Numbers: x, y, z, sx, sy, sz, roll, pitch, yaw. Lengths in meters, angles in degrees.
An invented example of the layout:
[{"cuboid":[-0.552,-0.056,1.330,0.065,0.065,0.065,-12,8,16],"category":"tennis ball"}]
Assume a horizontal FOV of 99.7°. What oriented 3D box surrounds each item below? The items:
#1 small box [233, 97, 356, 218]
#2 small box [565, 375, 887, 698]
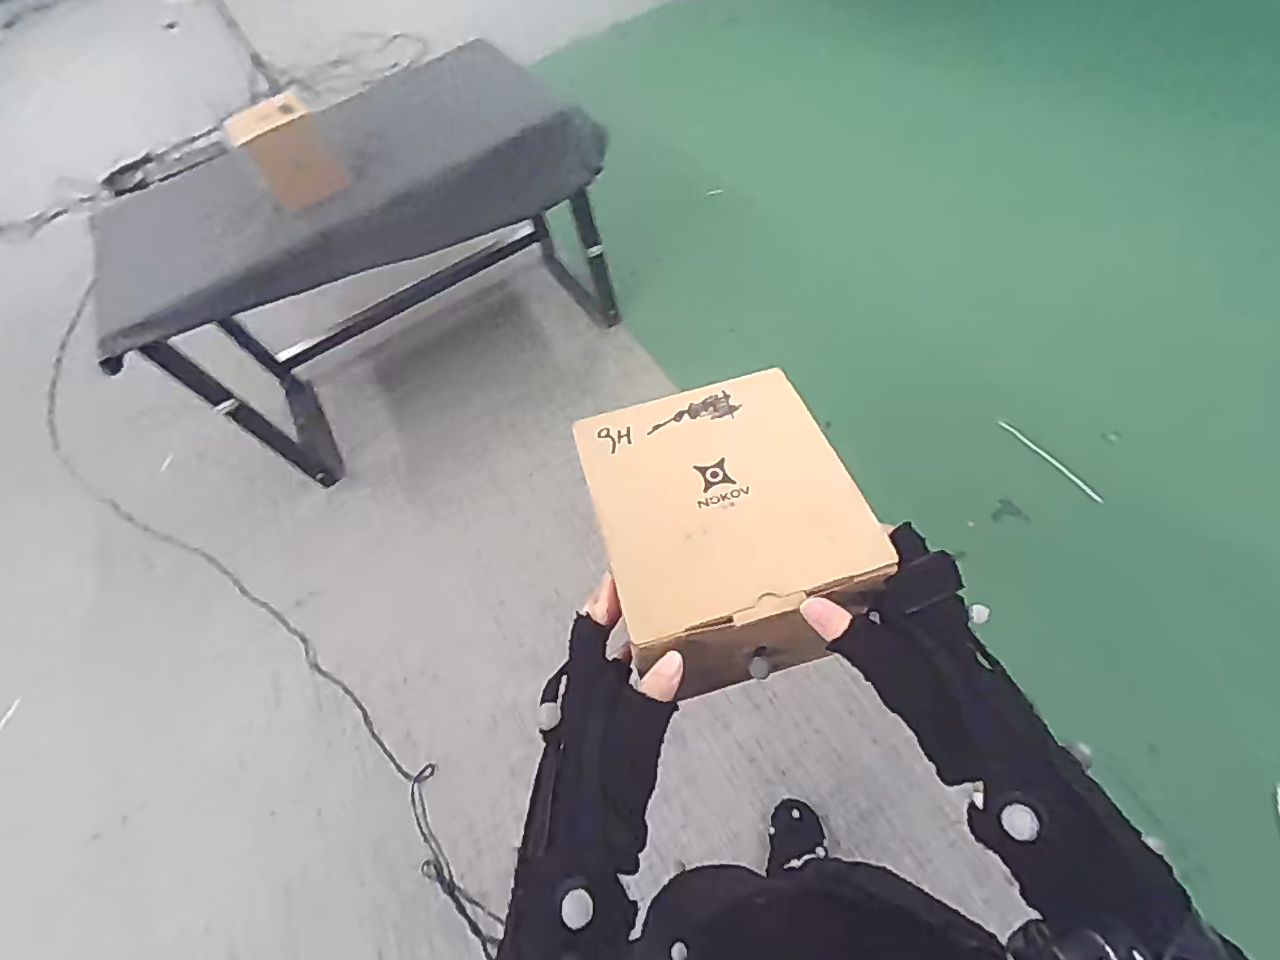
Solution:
[{"cuboid":[-0.811,-0.766,1.290,0.179,0.176,0.168,-35,60,-12],"category":"small box"},{"cuboid":[0.052,0.055,0.420,0.168,0.176,0.179,-16,57,-6],"category":"small box"}]
